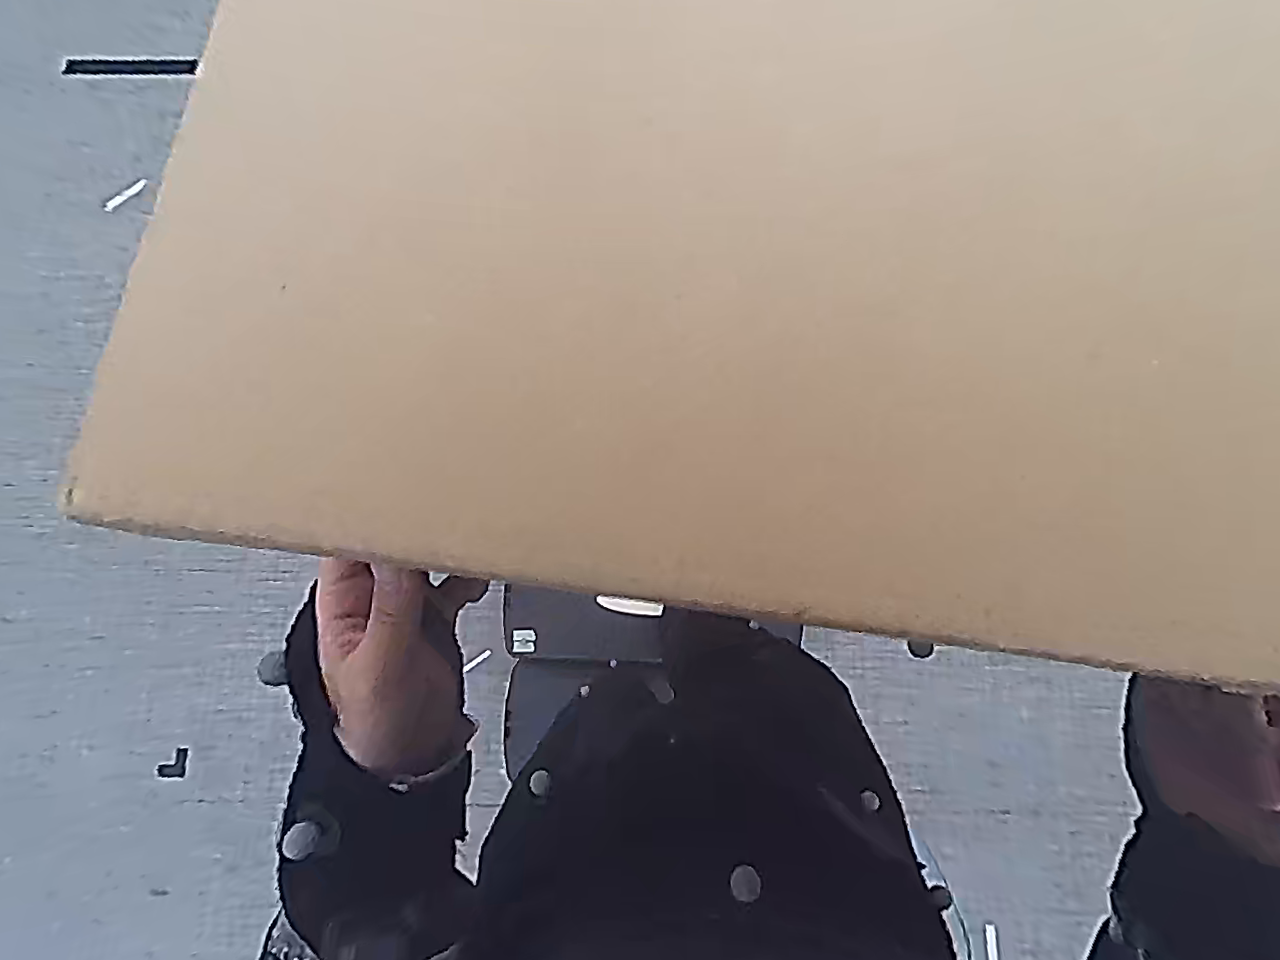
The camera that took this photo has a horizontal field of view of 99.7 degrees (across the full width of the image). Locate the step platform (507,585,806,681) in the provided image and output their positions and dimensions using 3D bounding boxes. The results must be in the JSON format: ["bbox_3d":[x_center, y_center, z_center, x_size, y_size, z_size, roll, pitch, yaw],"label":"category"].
[{"bbox_3d":[0.038,0.281,1.277,0.684,0.204,0.286,7,83,1],"label":"step platform"}]
